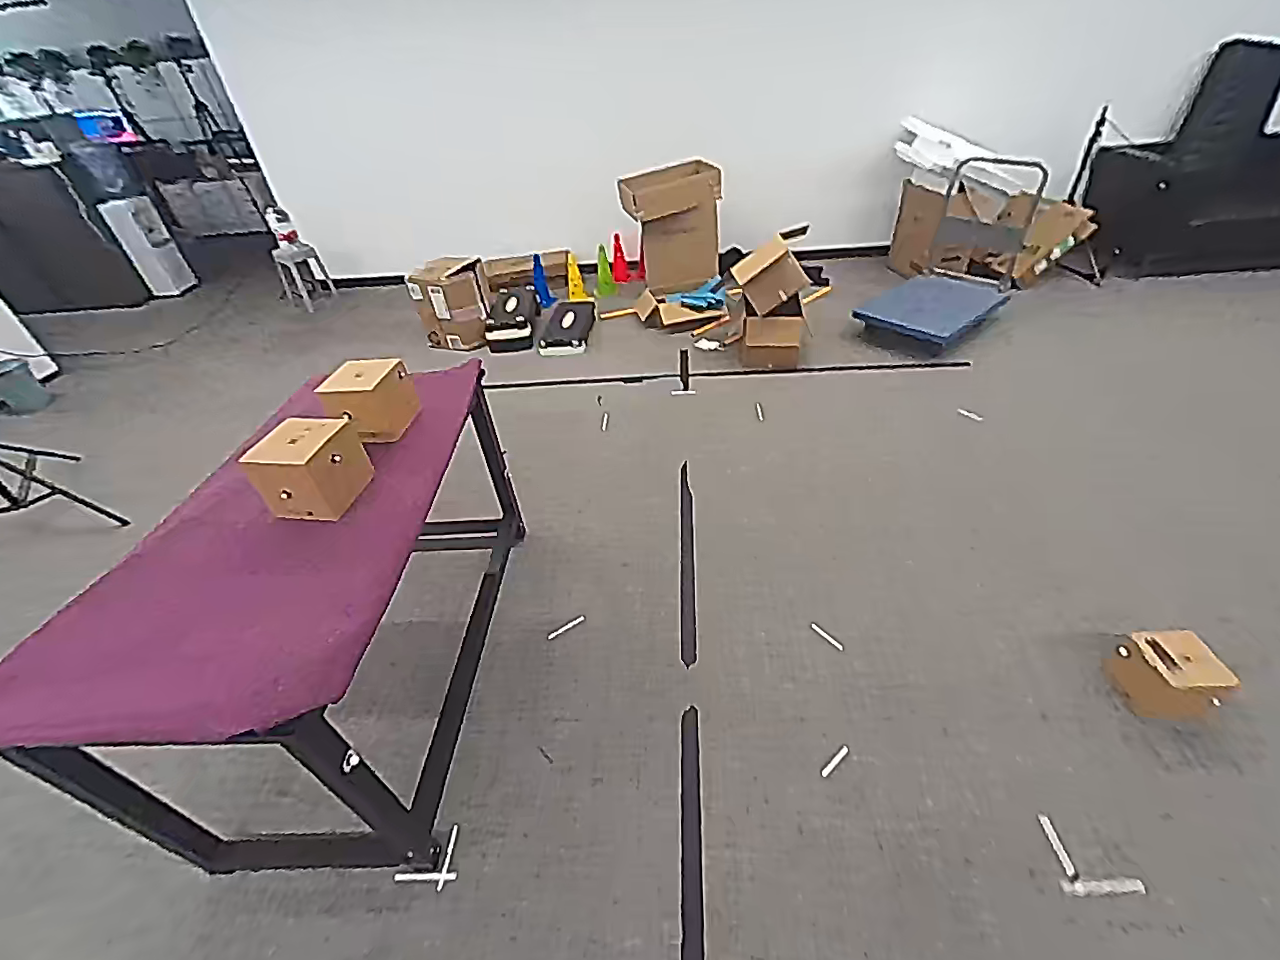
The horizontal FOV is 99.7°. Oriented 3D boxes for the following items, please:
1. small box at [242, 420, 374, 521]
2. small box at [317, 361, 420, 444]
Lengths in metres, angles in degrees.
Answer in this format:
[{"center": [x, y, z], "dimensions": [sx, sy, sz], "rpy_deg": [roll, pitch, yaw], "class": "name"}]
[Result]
[{"center": [-0.759, -0.022, 1.261], "dimensions": [0.168, 0.176, 0.179], "rpy_deg": [3, 39, 10], "class": "small box"}, {"center": [-0.736, -0.210, 1.493], "dimensions": [0.168, 0.176, 0.179], "rpy_deg": [-1, 39, 8], "class": "small box"}]
